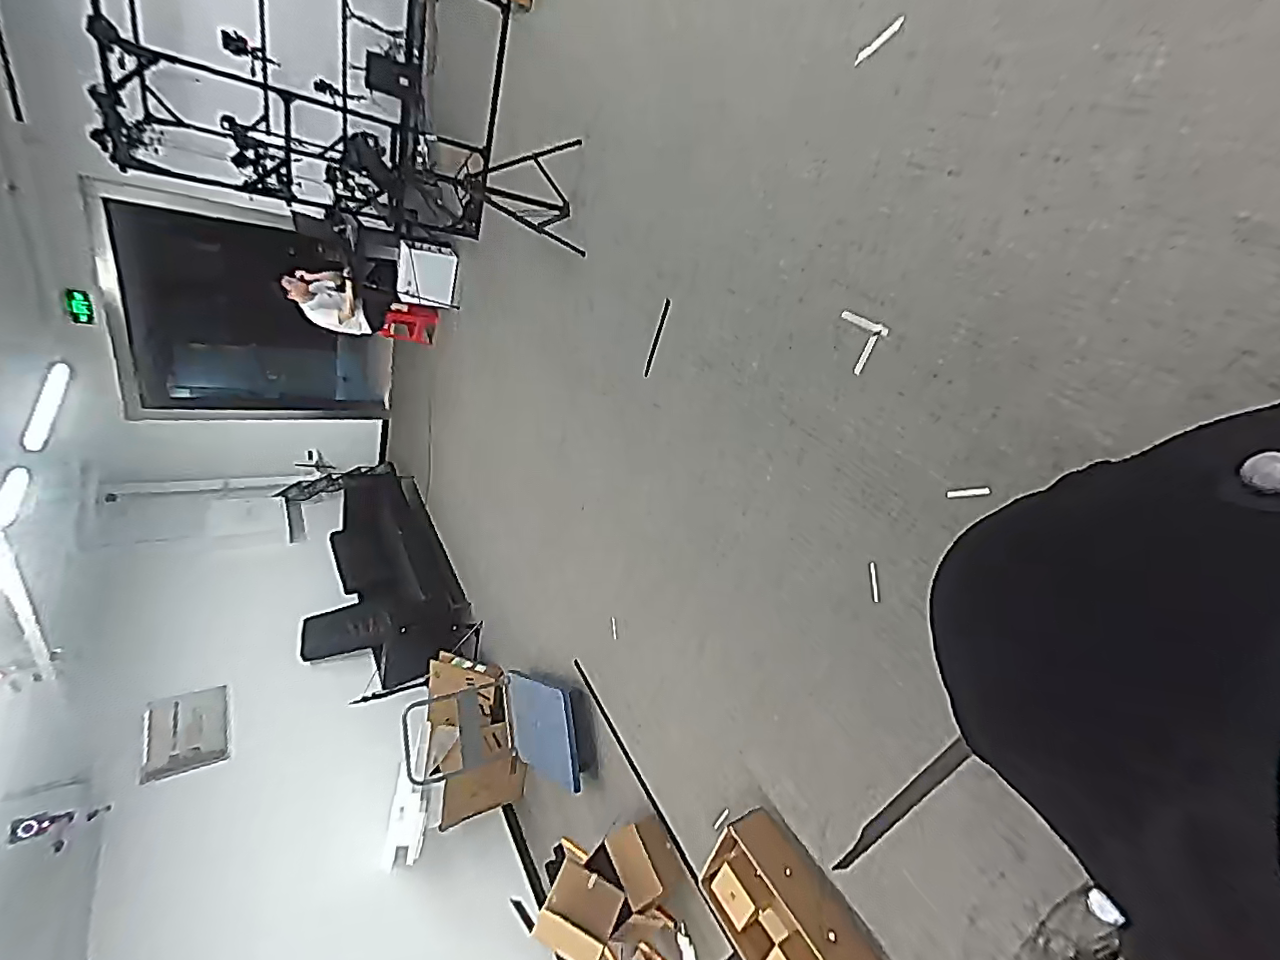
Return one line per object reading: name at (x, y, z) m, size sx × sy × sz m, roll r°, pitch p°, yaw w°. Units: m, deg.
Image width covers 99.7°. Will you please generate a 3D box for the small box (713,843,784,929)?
small box at (0.408, 1.503, 2.010) m, size 0.168 × 0.176 × 0.179 m, roll 45°, pitch 129°, yaw 43°
